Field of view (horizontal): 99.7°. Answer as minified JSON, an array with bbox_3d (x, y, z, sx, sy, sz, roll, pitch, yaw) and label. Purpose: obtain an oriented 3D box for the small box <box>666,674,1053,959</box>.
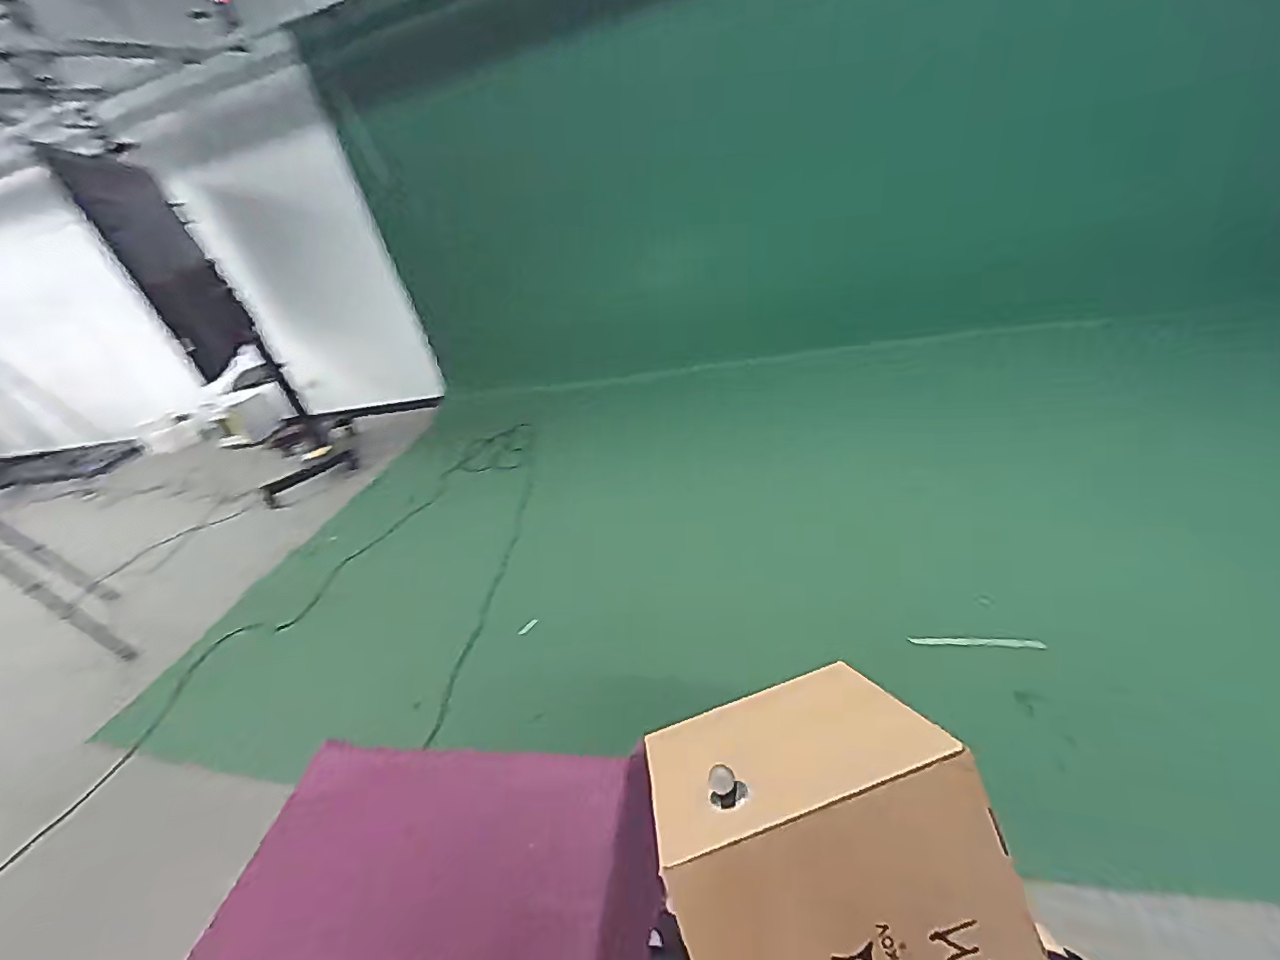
[{"bbox_3d":[0.122,0.254,0.356,0.179,0.168,0.176,-19,-2,-2],"label":"small box"}]
